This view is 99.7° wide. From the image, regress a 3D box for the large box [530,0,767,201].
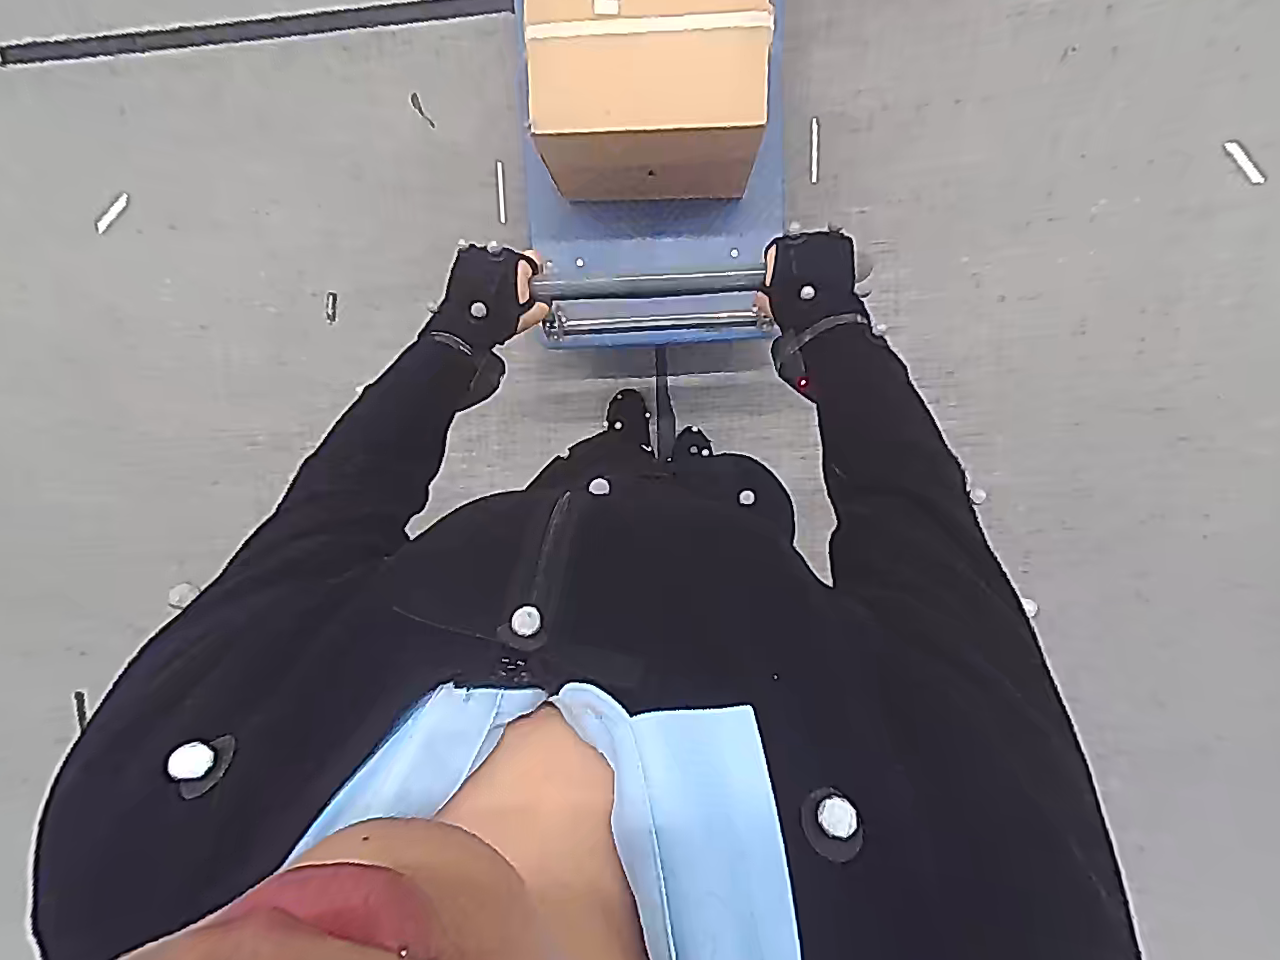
[{"bbox_3d":[0.024,-0.770,1.058,0.408,0.320,0.320,0,96,4],"label":"large box"}]
